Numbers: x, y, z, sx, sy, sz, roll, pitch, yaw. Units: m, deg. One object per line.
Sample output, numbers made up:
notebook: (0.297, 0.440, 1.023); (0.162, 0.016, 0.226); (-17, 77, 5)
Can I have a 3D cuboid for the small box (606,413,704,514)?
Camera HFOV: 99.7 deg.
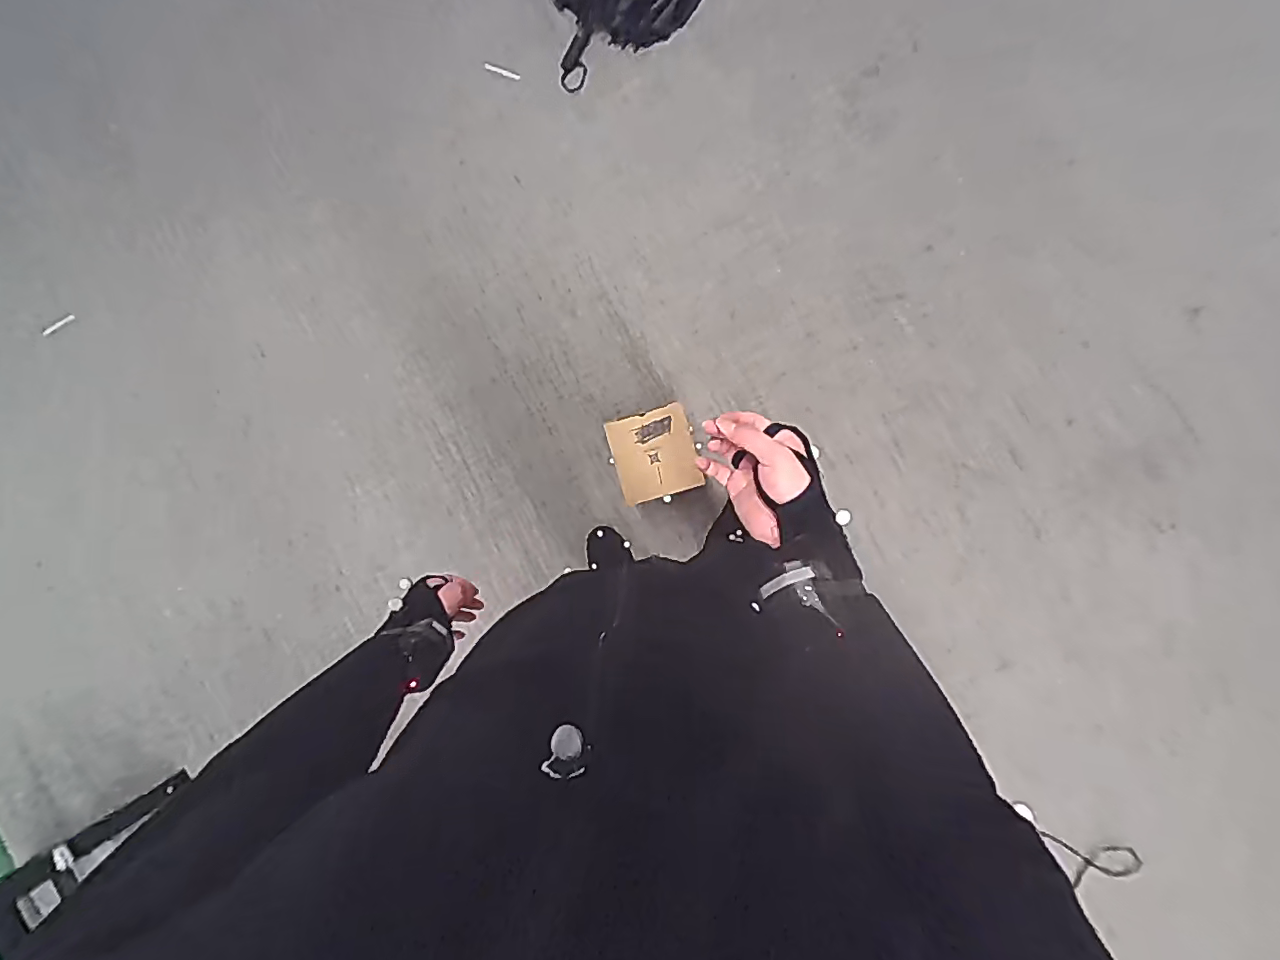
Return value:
small box: (0.034, -0.033, 1.168); (0.168, 0.176, 0.179); (-15, 90, 5)
